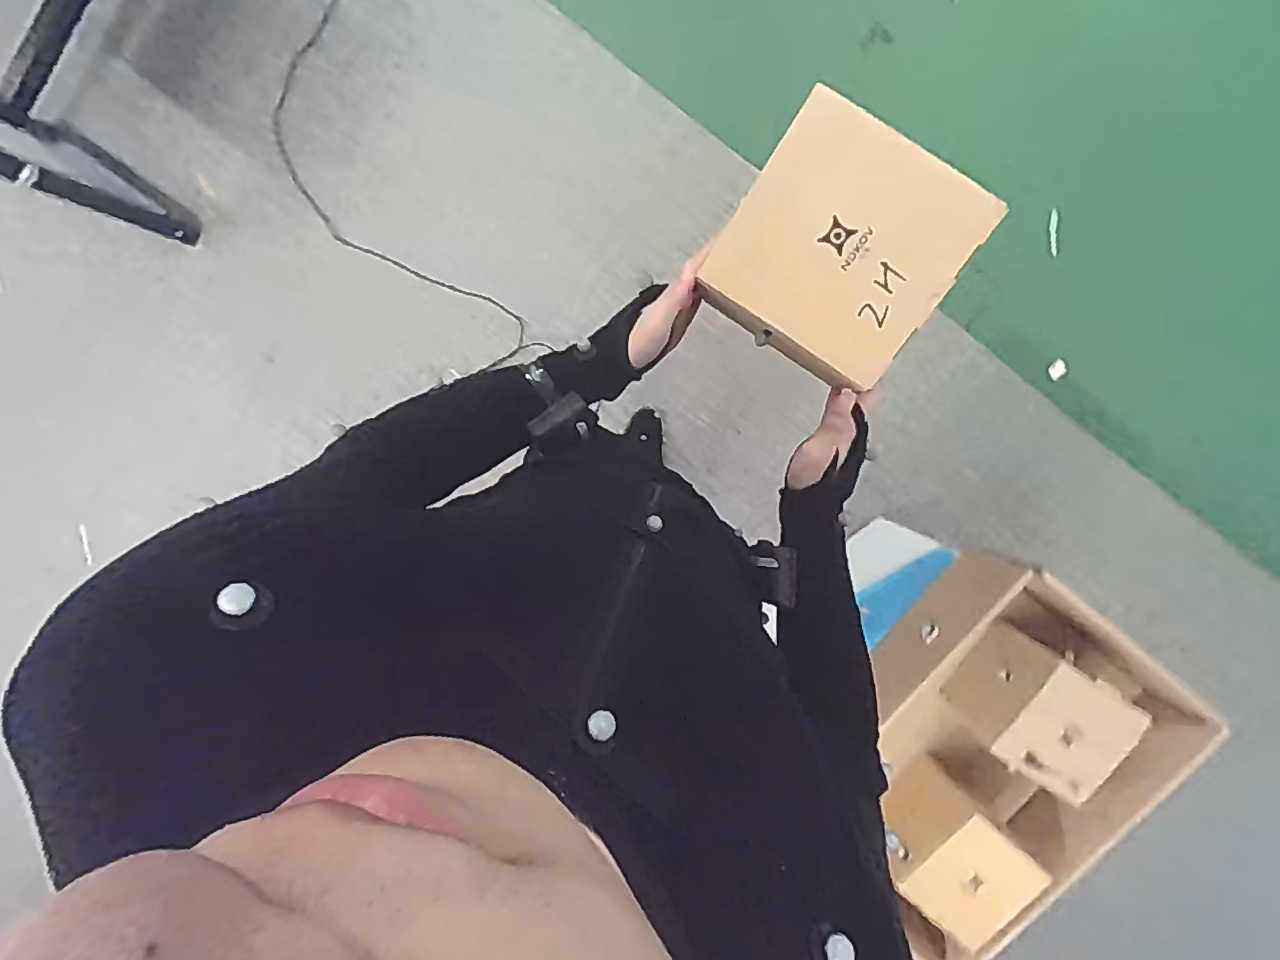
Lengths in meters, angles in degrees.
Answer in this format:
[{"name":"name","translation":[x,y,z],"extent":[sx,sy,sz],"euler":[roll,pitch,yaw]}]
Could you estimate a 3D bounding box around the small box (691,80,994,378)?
[{"name":"small box","translation":[0.166,-0.208,0.506],"extent":[0.179,0.176,0.168],"euler":[34,104,0]}]
